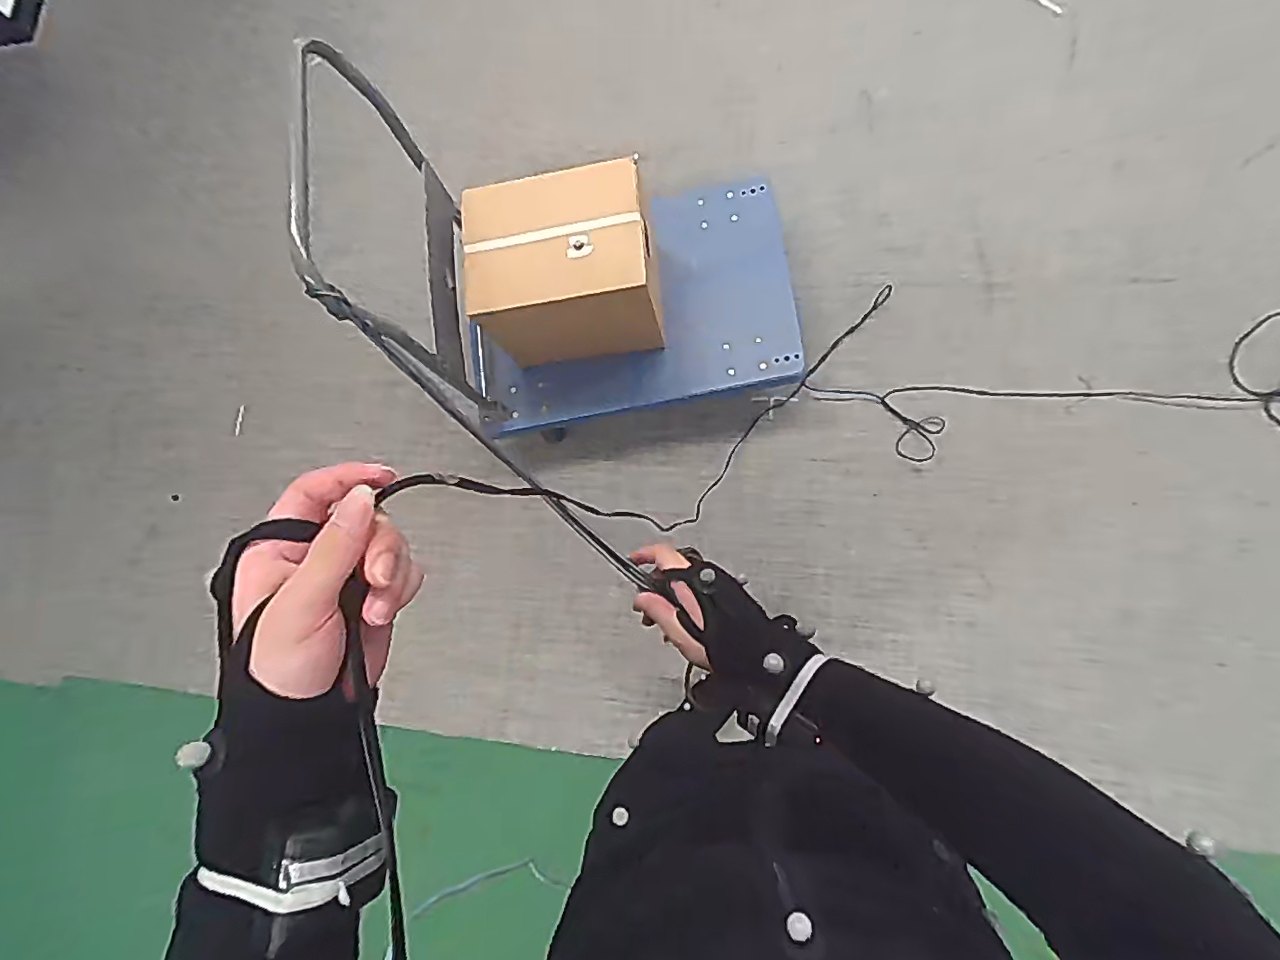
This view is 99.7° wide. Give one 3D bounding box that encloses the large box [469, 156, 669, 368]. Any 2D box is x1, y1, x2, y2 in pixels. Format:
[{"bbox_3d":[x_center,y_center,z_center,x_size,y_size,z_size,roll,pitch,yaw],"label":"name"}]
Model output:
[{"bbox_3d":[-0.156,-0.497,1.304,0.408,0.320,0.320,-7,79,8],"label":"large box"}]
